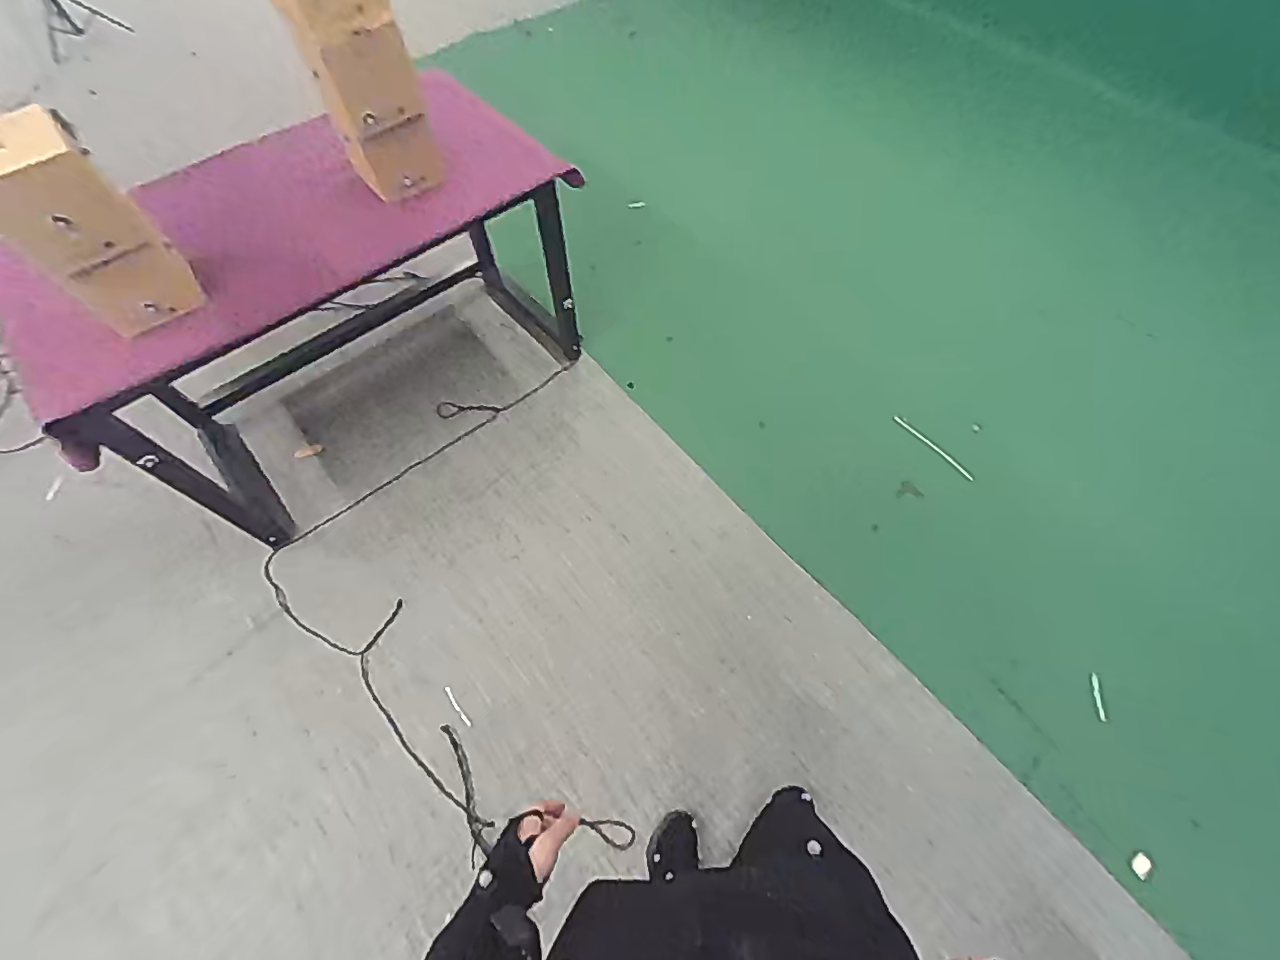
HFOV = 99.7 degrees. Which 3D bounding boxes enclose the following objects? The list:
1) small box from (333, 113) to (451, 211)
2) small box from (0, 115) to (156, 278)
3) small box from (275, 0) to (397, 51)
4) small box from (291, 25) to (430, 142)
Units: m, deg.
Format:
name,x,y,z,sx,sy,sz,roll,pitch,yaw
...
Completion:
name,x,y,z,sx,sy,sz,roll,pitch,yaw
small box,-0.580,-0.779,1.280,0.168,0.176,0.179,-35,66,-15
small box,-1.001,-0.479,0.935,0.168,0.176,0.179,-37,68,-18
small box,-0.583,-0.927,0.990,0.168,0.176,0.179,-39,66,-17
small box,-0.572,-0.842,1.128,0.168,0.176,0.179,-37,65,-16
